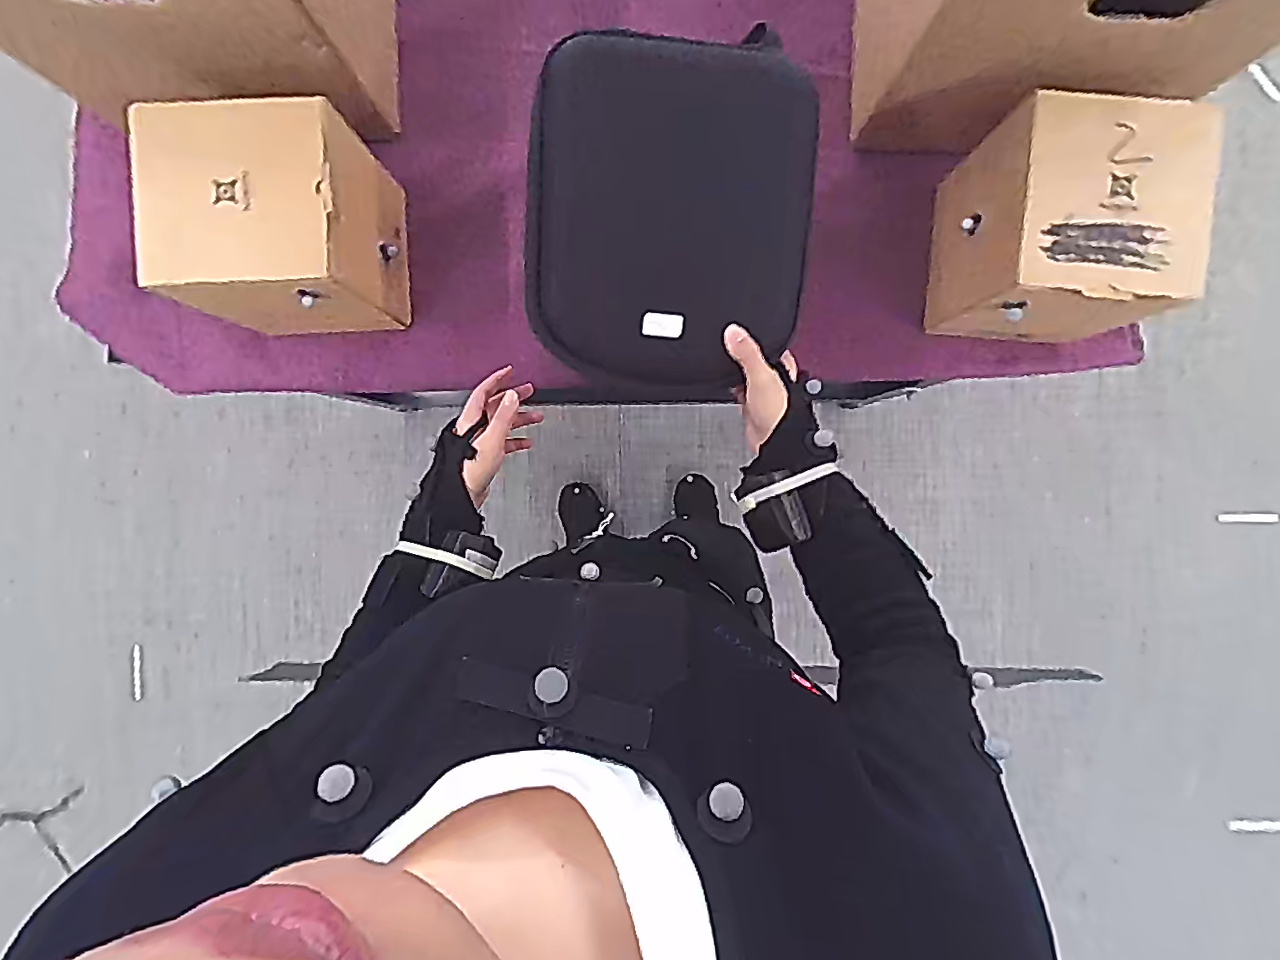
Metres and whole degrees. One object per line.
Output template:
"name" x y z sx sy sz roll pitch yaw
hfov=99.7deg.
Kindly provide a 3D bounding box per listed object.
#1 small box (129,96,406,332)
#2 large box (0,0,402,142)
"small box" -0.370 -0.259 0.566 0.179 0.176 0.168 -3 90 -1
"large box" -0.436 -0.592 0.486 0.320 0.320 0.408 -2 94 -1
